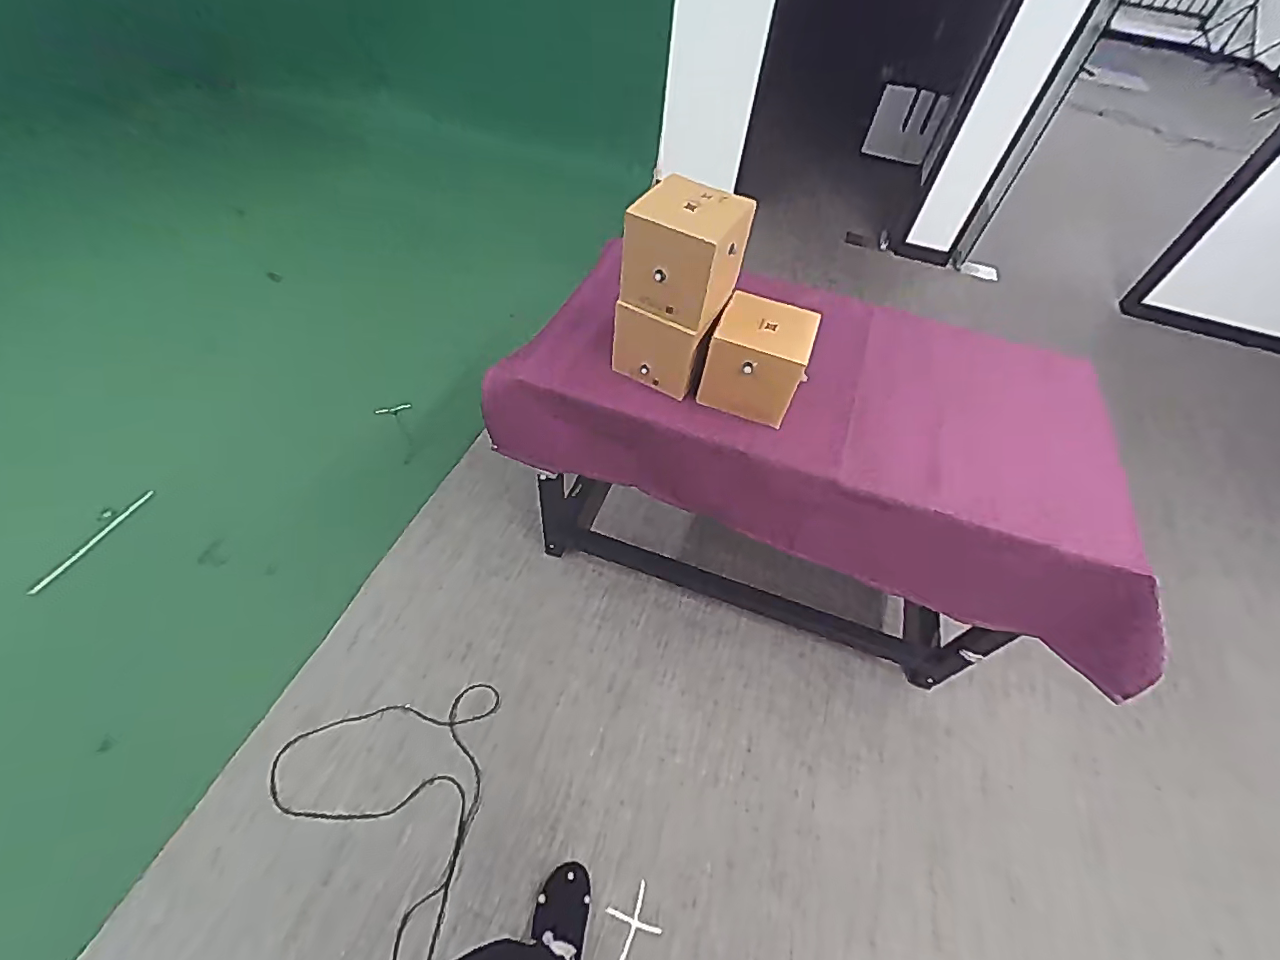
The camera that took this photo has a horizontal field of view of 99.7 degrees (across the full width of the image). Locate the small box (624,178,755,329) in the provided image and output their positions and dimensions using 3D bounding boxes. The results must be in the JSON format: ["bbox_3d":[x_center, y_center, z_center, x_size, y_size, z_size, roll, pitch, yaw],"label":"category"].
[{"bbox_3d":[0.081,-0.400,0.965,0.168,0.176,0.179,27,54,13],"label":"small box"}]
